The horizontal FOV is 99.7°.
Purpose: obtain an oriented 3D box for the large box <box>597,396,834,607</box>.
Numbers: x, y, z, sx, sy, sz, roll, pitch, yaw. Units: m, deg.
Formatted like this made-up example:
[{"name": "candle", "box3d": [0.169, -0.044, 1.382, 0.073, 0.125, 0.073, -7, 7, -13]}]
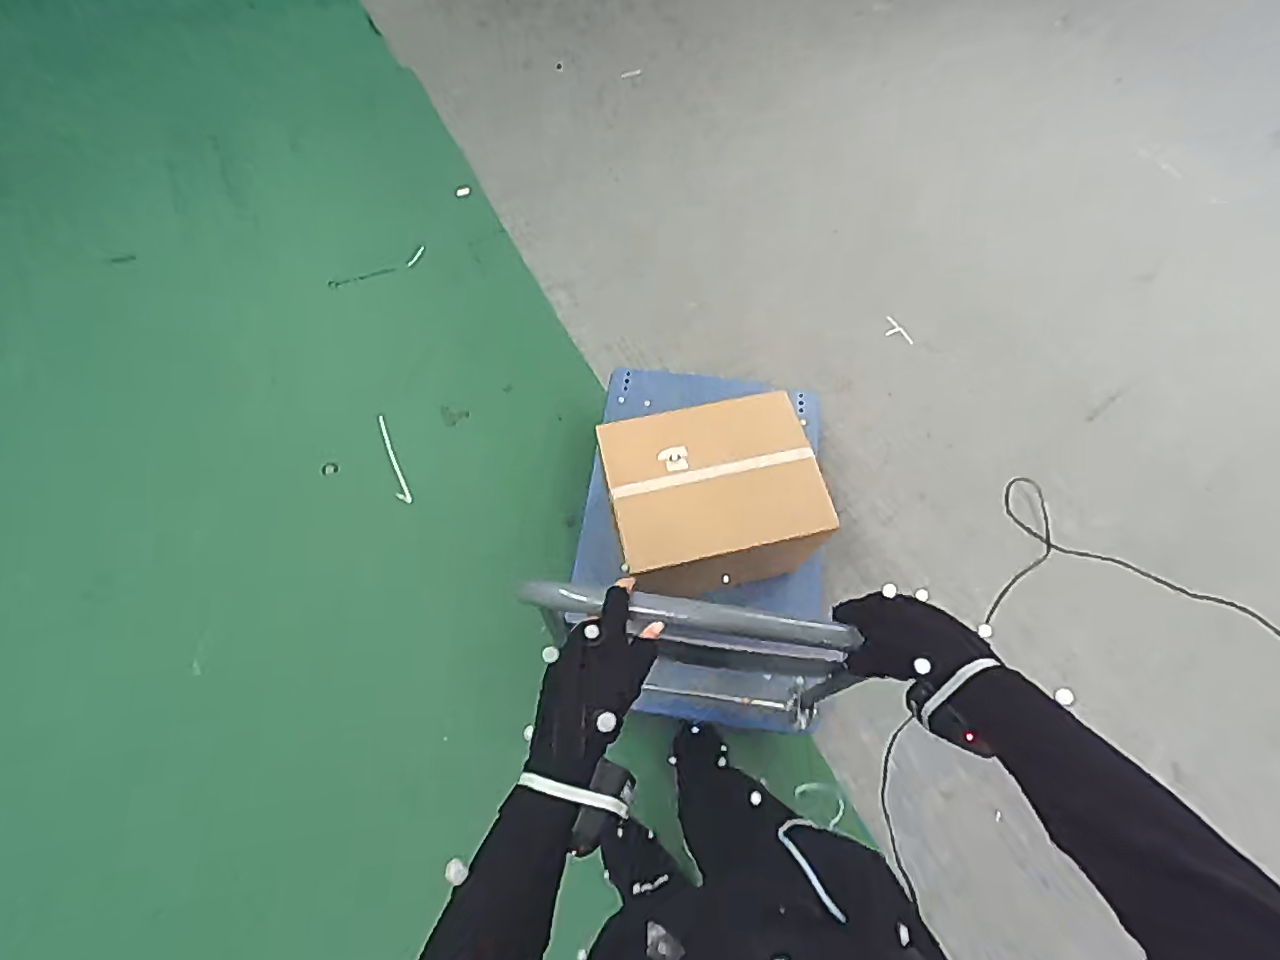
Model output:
[{"name": "large box", "box3d": [0.141, 0.060, 1.187, 0.408, 0.320, 0.320, -12, 66, -5]}]
